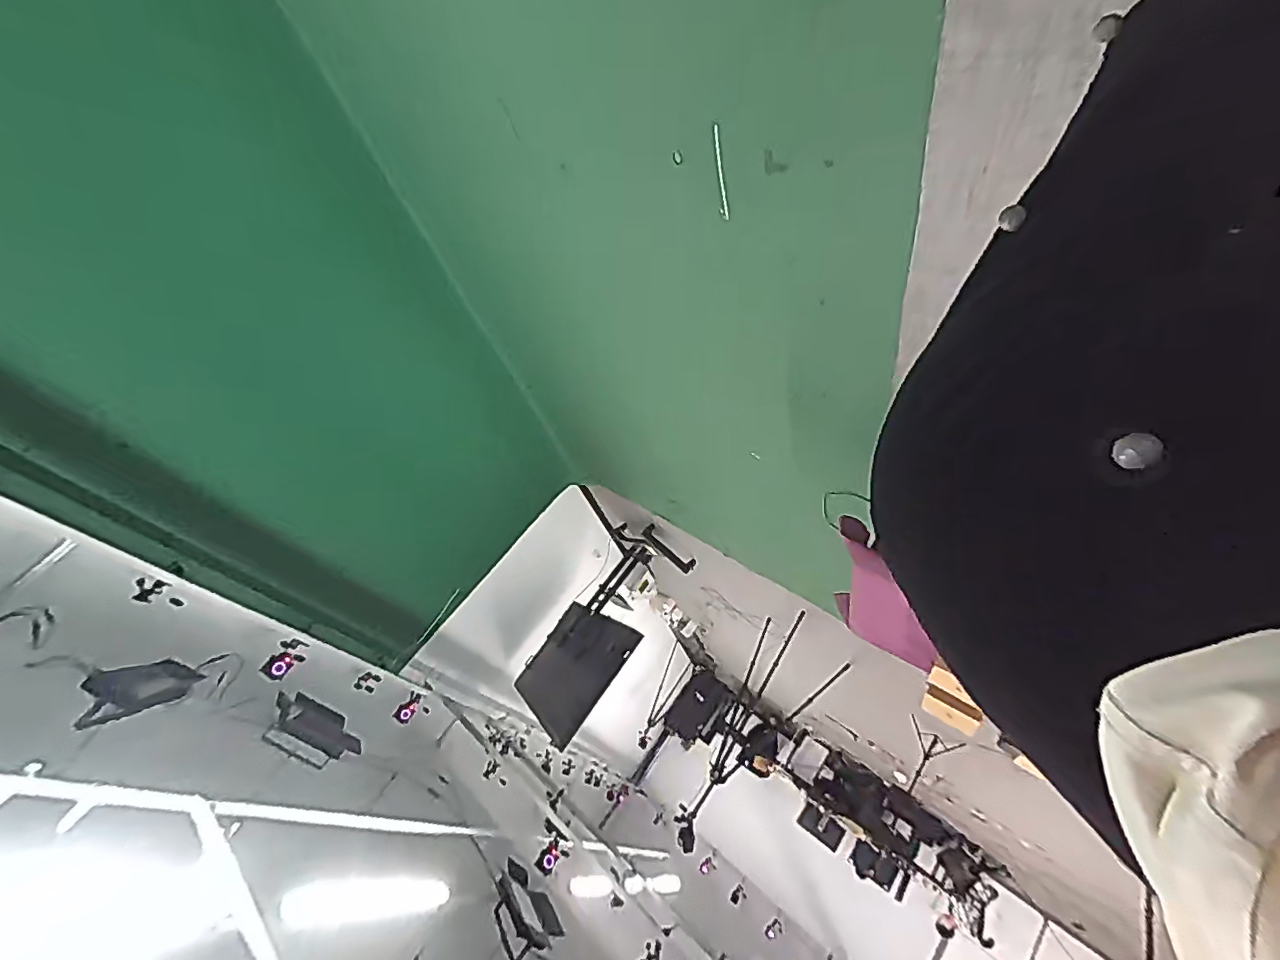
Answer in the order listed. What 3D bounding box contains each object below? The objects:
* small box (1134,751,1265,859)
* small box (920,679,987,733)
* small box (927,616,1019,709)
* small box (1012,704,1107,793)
[{"bbox_3d":[1.424,0.827,1.379,0.168,0.176,0.179,27,158,33],"label":"small box"},{"bbox_3d":[1.049,0.694,1.781,0.168,0.176,0.179,25,155,34],"label":"small box"},{"bbox_3d":[0.959,0.525,1.561,0.168,0.176,0.179,27,158,32],"label":"small box"},{"bbox_3d":[1.262,0.803,1.626,0.168,0.176,0.179,26,158,34],"label":"small box"}]
